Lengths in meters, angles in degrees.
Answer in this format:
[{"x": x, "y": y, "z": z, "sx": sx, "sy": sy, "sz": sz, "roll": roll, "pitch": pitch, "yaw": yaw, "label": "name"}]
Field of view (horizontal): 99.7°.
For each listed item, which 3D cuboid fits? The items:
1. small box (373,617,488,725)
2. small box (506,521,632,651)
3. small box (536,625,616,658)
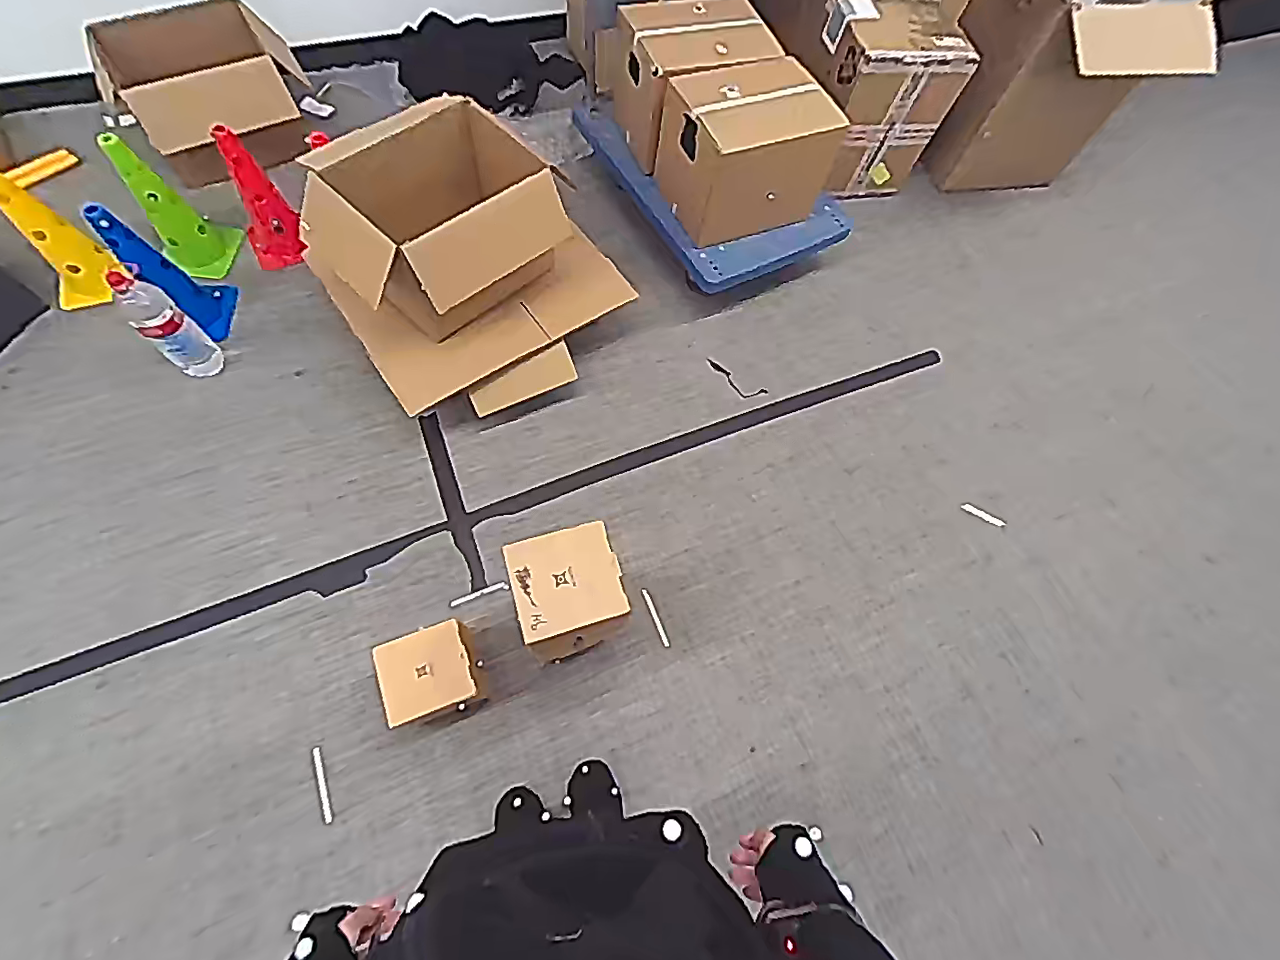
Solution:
[{"x": -0.447, "y": 0.418, "z": 1.174, "sx": 0.179, "sy": 0.176, "sz": 0.168, "roll": -19, "pitch": 71, "yaw": -15, "label": "small box"}, {"x": -0.128, "y": 0.190, "z": 0.950, "sx": 0.179, "sy": 0.176, "sz": 0.168, "roll": -14, "pitch": 70, "yaw": -14, "label": "small box"}, {"x": -0.148, "y": 0.250, "z": 1.101, "sx": 0.179, "sy": 0.176, "sz": 0.168, "roll": -17, "pitch": 71, "yaw": -15, "label": "small box"}]
